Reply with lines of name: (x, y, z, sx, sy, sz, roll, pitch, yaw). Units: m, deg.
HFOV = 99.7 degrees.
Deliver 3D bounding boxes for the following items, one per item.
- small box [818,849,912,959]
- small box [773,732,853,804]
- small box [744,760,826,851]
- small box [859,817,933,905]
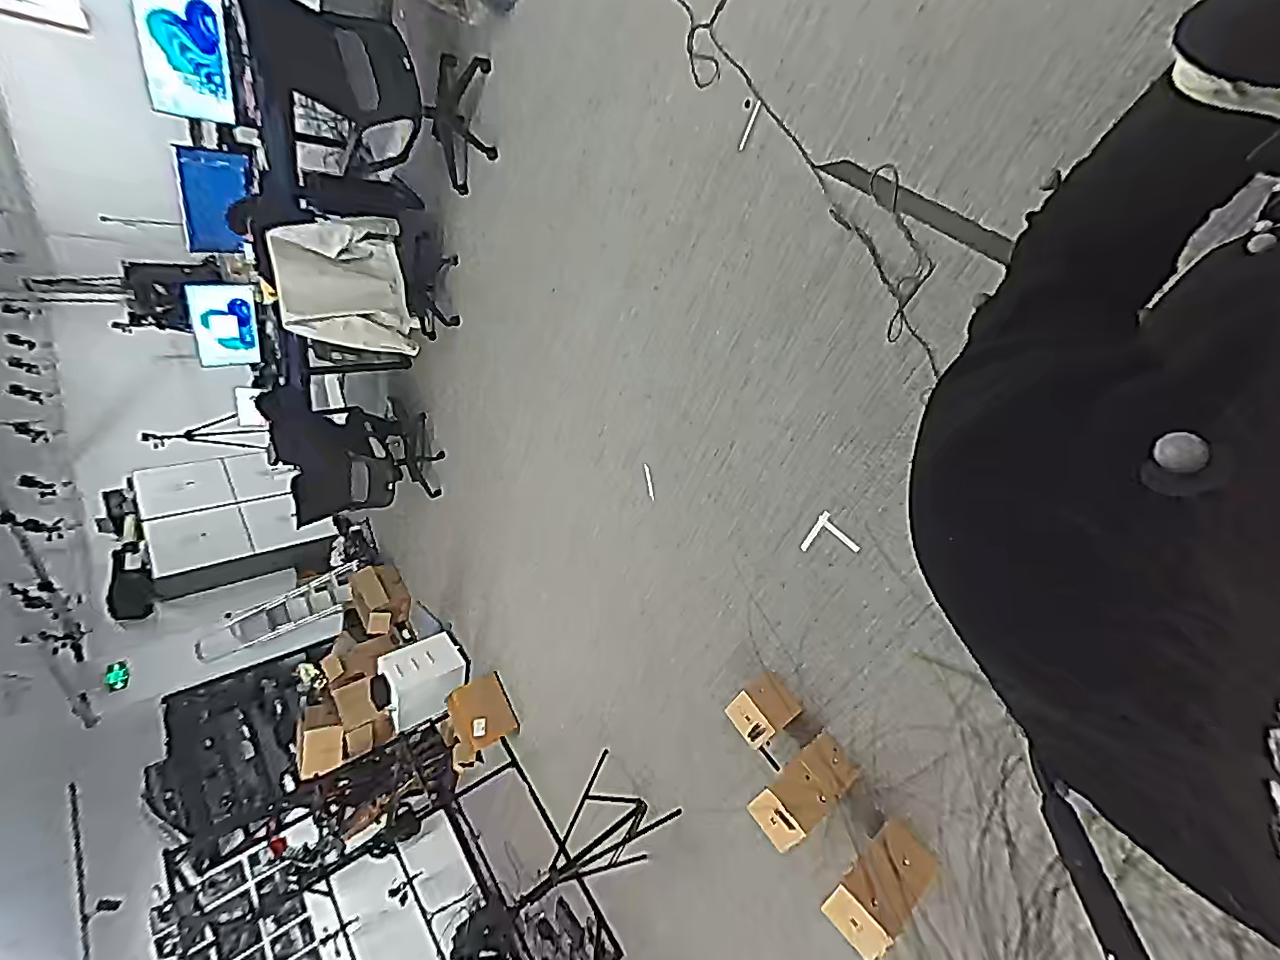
small box: (0.680, 1.270, 1.626, 0.179, 0.176, 0.168, 38, 127, 36)
small box: (0.604, 1.018, 1.880, 0.168, 0.176, 0.179, 49, 133, 26)
small box: (0.482, 1.063, 1.778, 0.168, 0.176, 0.179, 47, 134, 29)
small box: (0.801, 1.236, 1.730, 0.179, 0.176, 0.168, 35, 126, 35)
